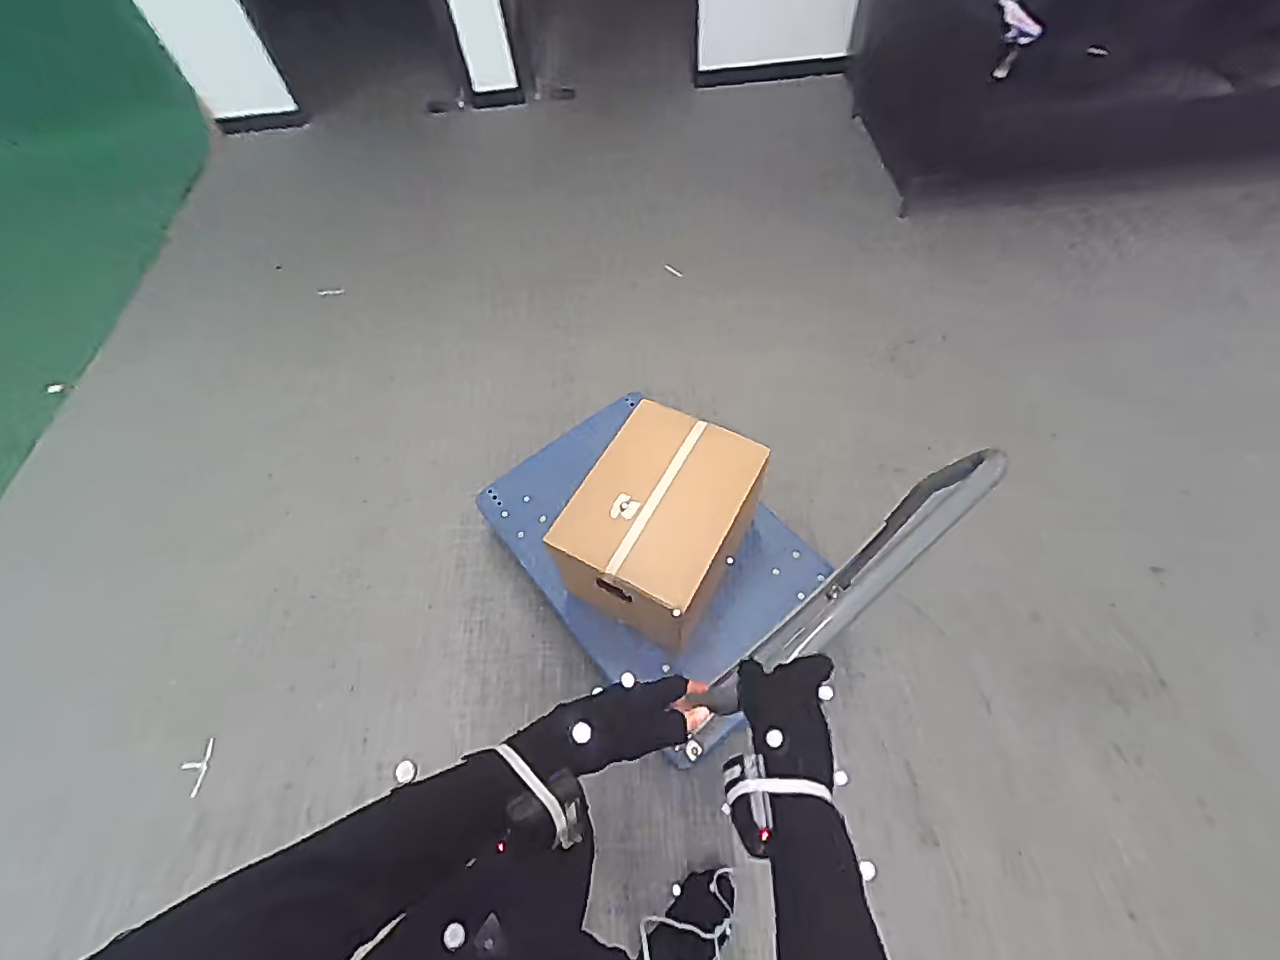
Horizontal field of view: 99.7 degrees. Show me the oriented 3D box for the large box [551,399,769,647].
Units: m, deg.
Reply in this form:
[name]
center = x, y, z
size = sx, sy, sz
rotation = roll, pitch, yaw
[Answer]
[large box]
center = 0.057, 0.099, 1.227
size = 0.320, 0.320, 0.408
rotation = 24, 64, 18
